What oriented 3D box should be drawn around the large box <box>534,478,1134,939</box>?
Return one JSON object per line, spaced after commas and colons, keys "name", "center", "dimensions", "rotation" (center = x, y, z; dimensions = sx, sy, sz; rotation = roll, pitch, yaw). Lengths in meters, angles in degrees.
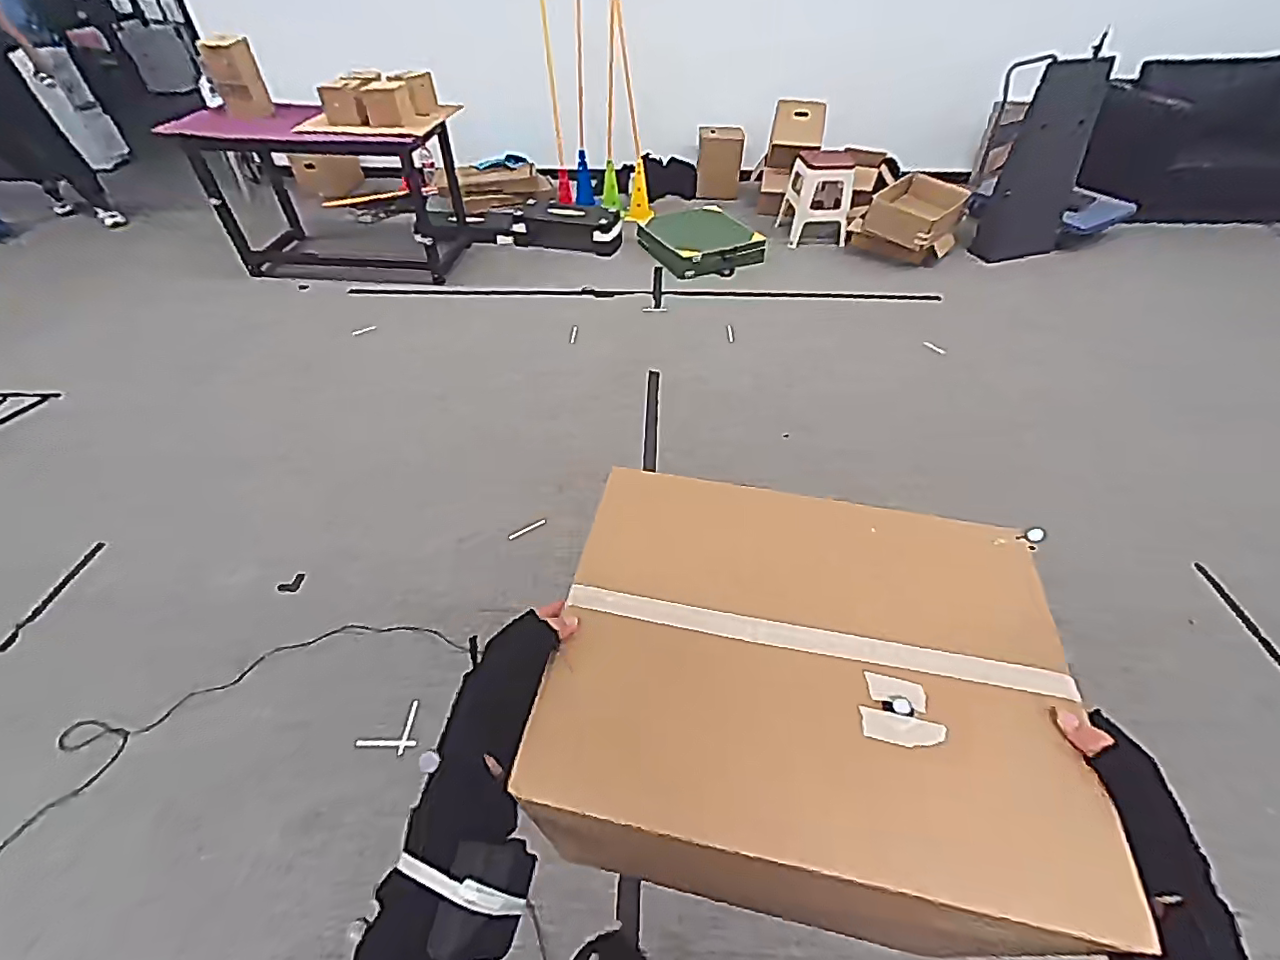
{"name": "large box", "center": [0.143, 0.234, 0.568], "dimensions": [0.408, 0.320, 0.320], "rotation": [9, 50, 8]}
